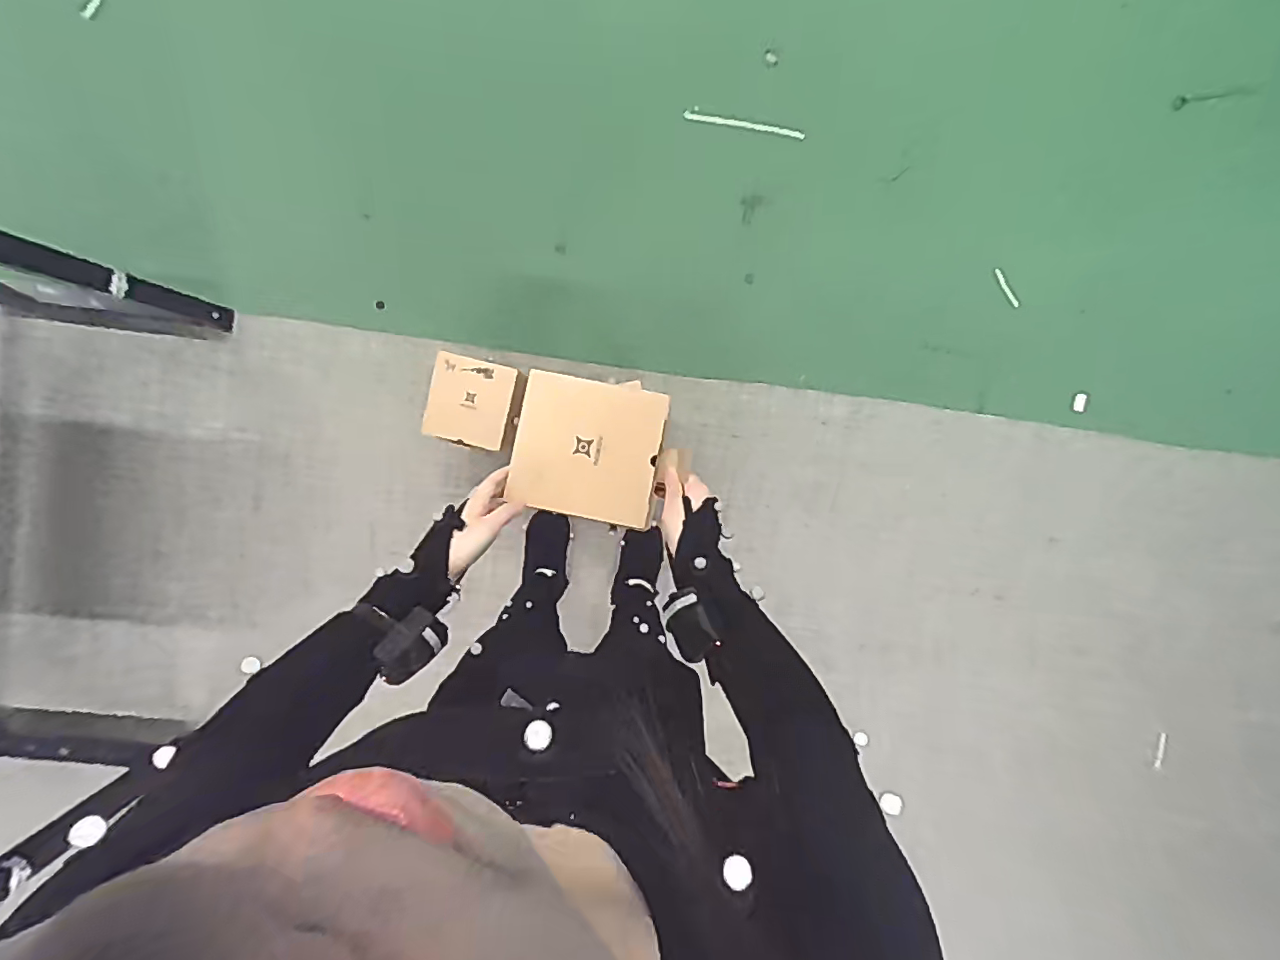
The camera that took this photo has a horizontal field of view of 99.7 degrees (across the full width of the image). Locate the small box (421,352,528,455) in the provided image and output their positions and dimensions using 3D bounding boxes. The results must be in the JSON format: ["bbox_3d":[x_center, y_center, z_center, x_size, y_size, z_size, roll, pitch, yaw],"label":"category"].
[{"bbox_3d":[-0.343,-0.158,1.160,0.168,0.176,0.179,14,93,-2],"label":"small box"}]

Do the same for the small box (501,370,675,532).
[{"bbox_3d":[-0.057,-0.028,0.702,0.179,0.176,0.168,11,86,2],"label":"small box"}]
